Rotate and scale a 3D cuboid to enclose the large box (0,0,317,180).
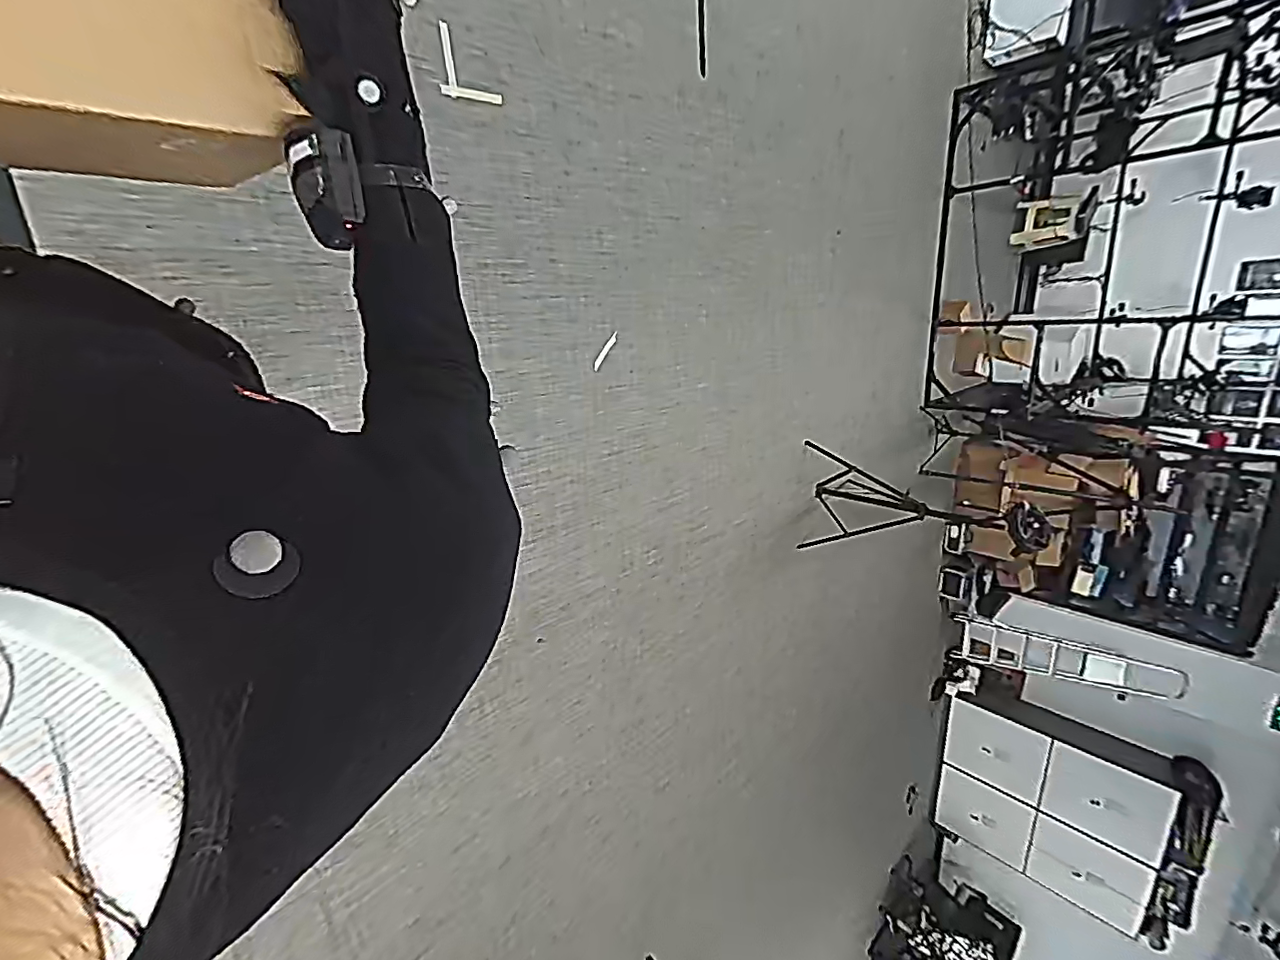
[{"bbox_3d":[-0.476,-0.371,0.298,0.408,0.320,0.320,-20,120,-42],"label":"large box"}]
